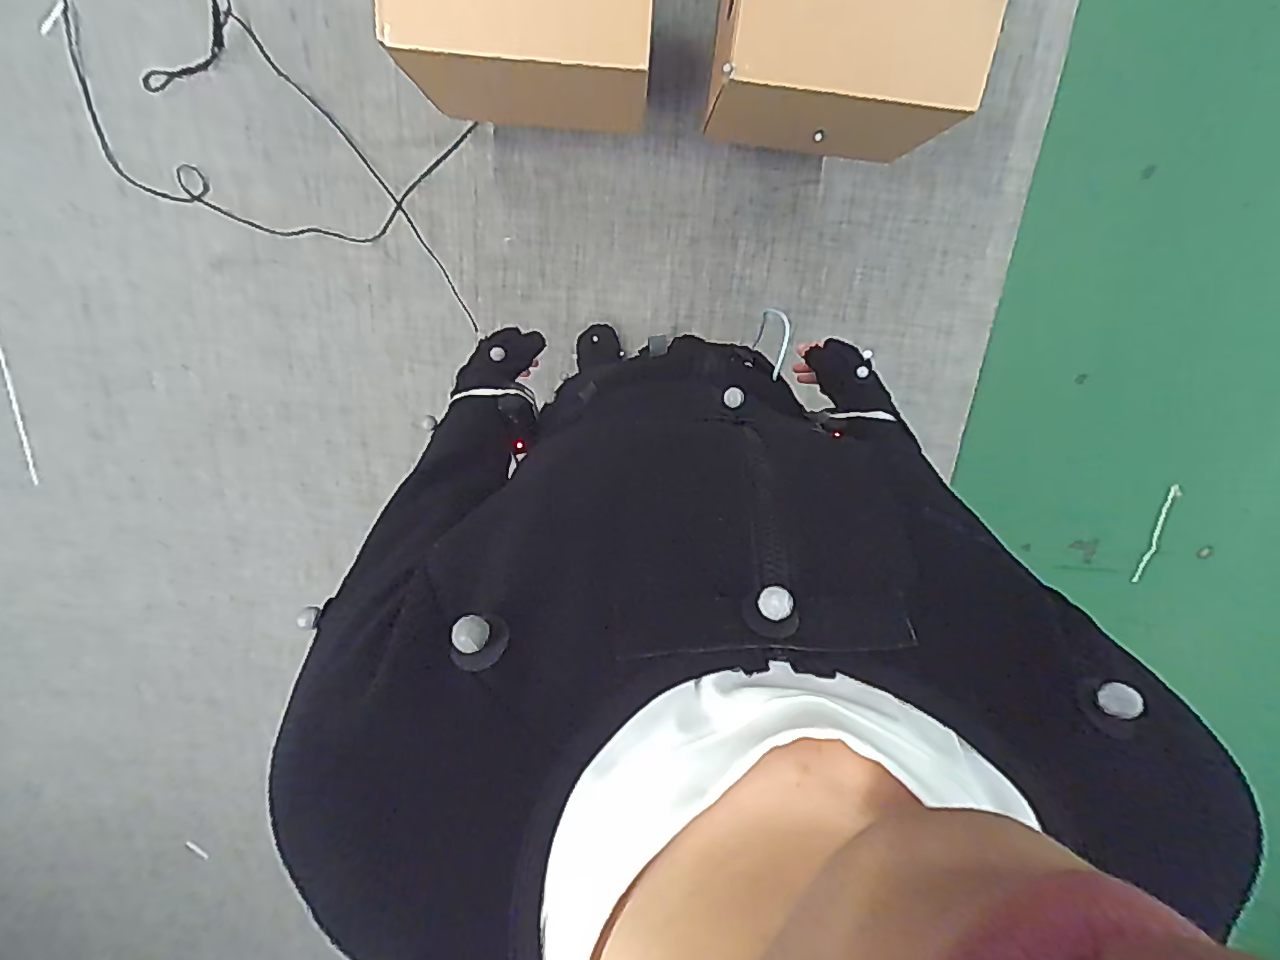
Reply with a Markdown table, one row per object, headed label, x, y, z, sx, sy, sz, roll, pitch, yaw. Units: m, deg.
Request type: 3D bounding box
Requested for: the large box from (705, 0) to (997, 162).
| label | x | y | z | sx | sy | sz | roll | pitch | yaw |
| --- | --- | --- | --- | --- | --- | --- | --- | --- | --- |
| large box | 0.351 | -0.792 | 0.966 | 0.408 | 0.320 | 0.320 | 6 | 106 | -3 |
